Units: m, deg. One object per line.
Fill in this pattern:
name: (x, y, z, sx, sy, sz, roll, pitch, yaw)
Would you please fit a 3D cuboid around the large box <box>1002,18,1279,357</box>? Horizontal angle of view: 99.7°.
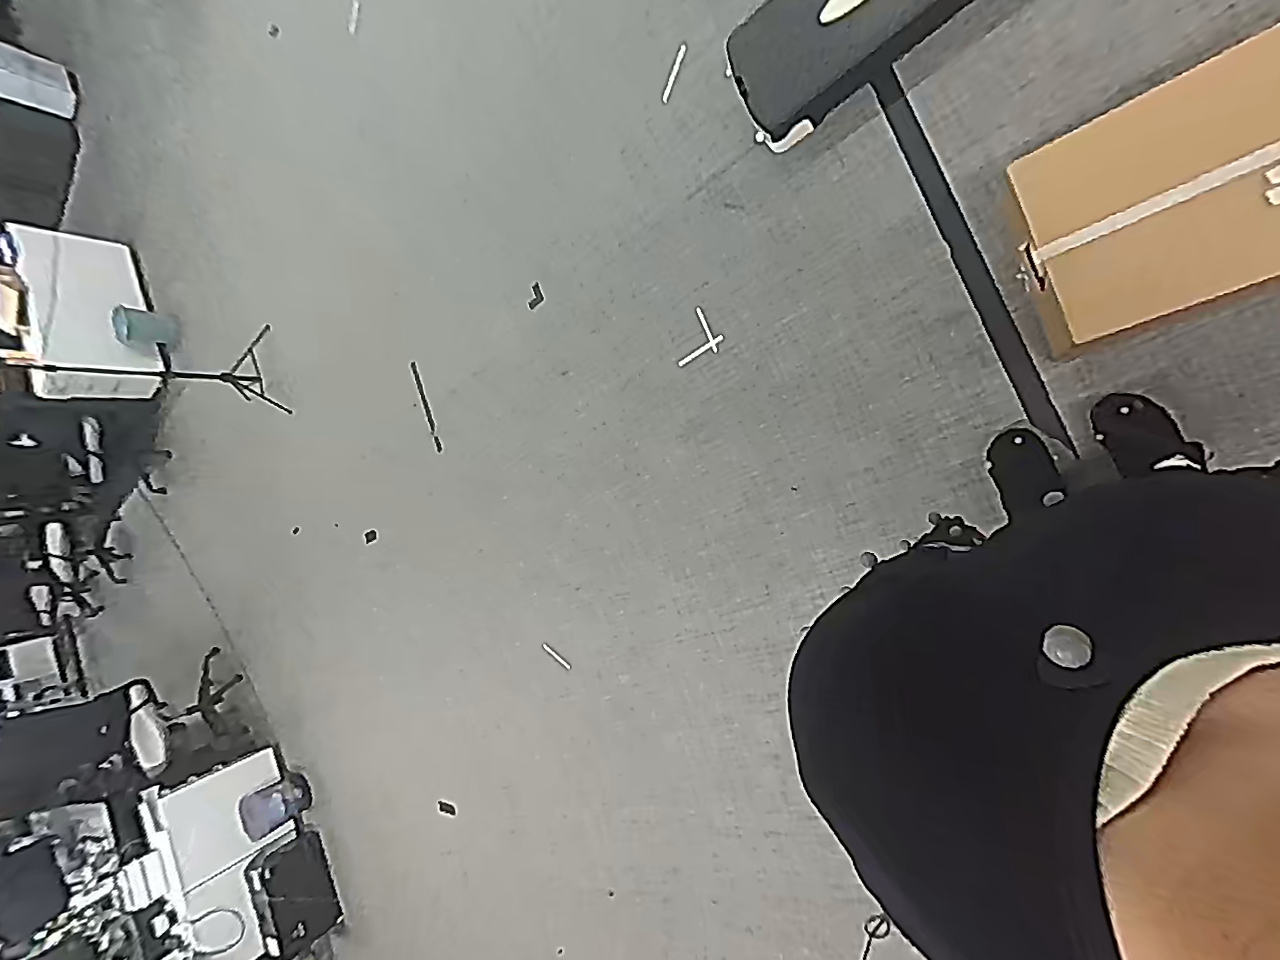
large box: (0.869, -0.435, 0.875, 0.408, 0.320, 0.320, -20, 85, 33)
